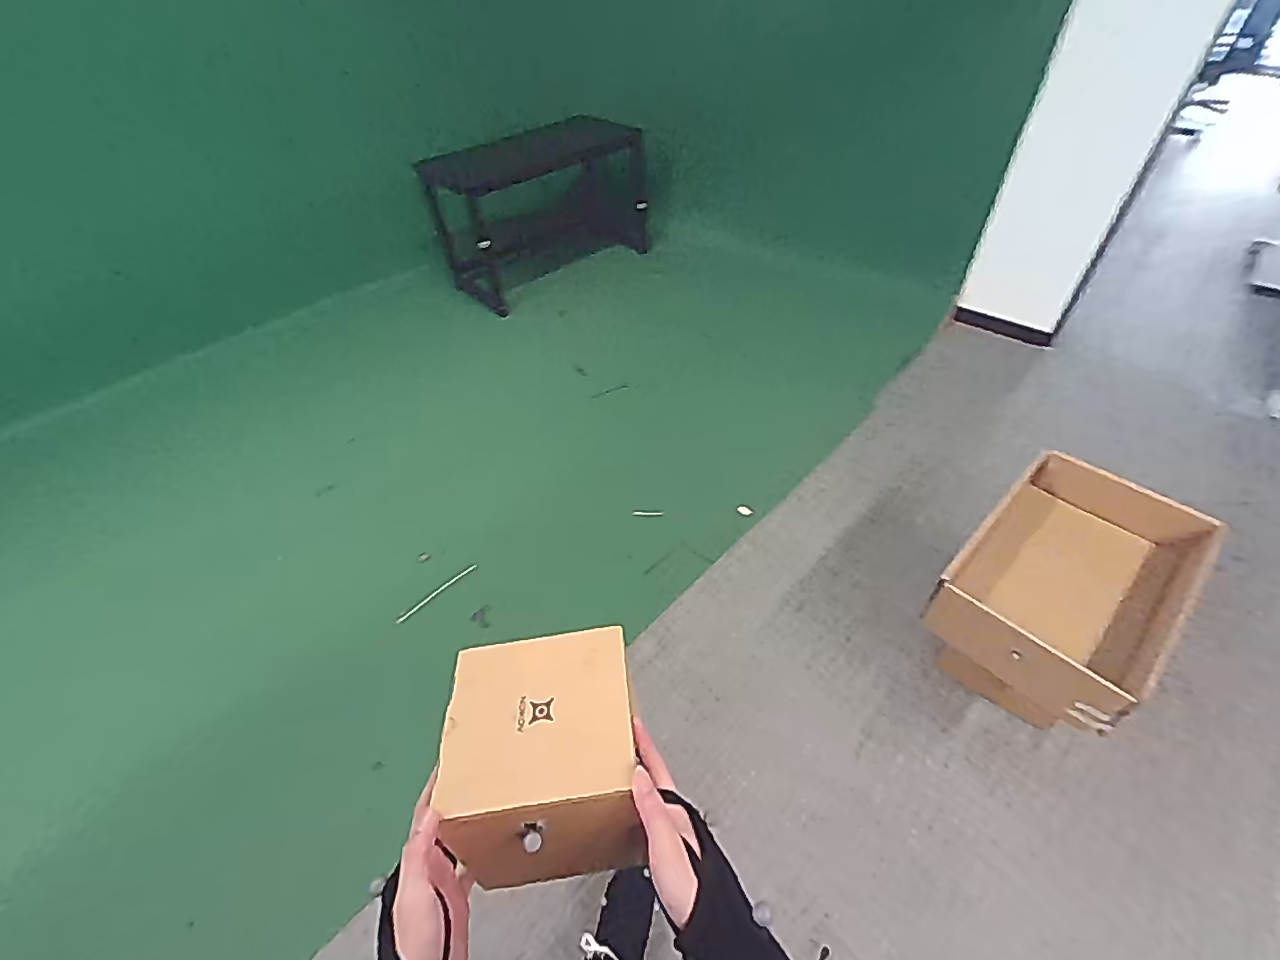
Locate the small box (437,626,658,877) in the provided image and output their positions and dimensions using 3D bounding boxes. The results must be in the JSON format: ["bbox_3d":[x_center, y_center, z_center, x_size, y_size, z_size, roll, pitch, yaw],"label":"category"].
[{"bbox_3d":[-0.076,0.275,0.550,0.179,0.176,0.168,-9,38,1],"label":"small box"}]
